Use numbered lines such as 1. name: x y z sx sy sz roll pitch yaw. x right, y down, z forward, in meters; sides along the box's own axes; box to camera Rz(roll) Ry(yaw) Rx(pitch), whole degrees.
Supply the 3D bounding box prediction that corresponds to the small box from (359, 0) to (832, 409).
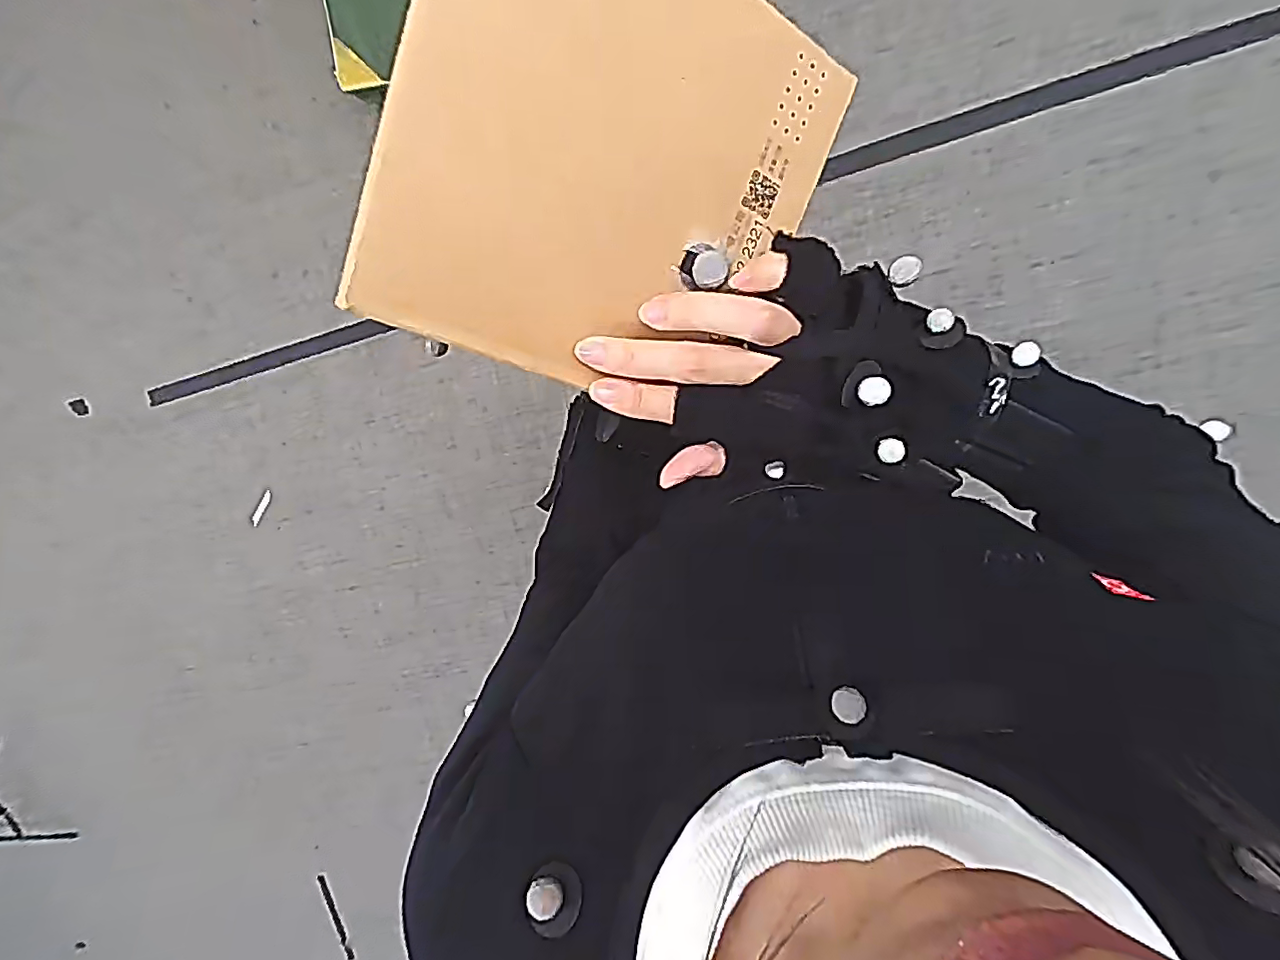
1. small box: -0.036 -0.151 0.299 0.176 0.179 0.168 15 103 -27
